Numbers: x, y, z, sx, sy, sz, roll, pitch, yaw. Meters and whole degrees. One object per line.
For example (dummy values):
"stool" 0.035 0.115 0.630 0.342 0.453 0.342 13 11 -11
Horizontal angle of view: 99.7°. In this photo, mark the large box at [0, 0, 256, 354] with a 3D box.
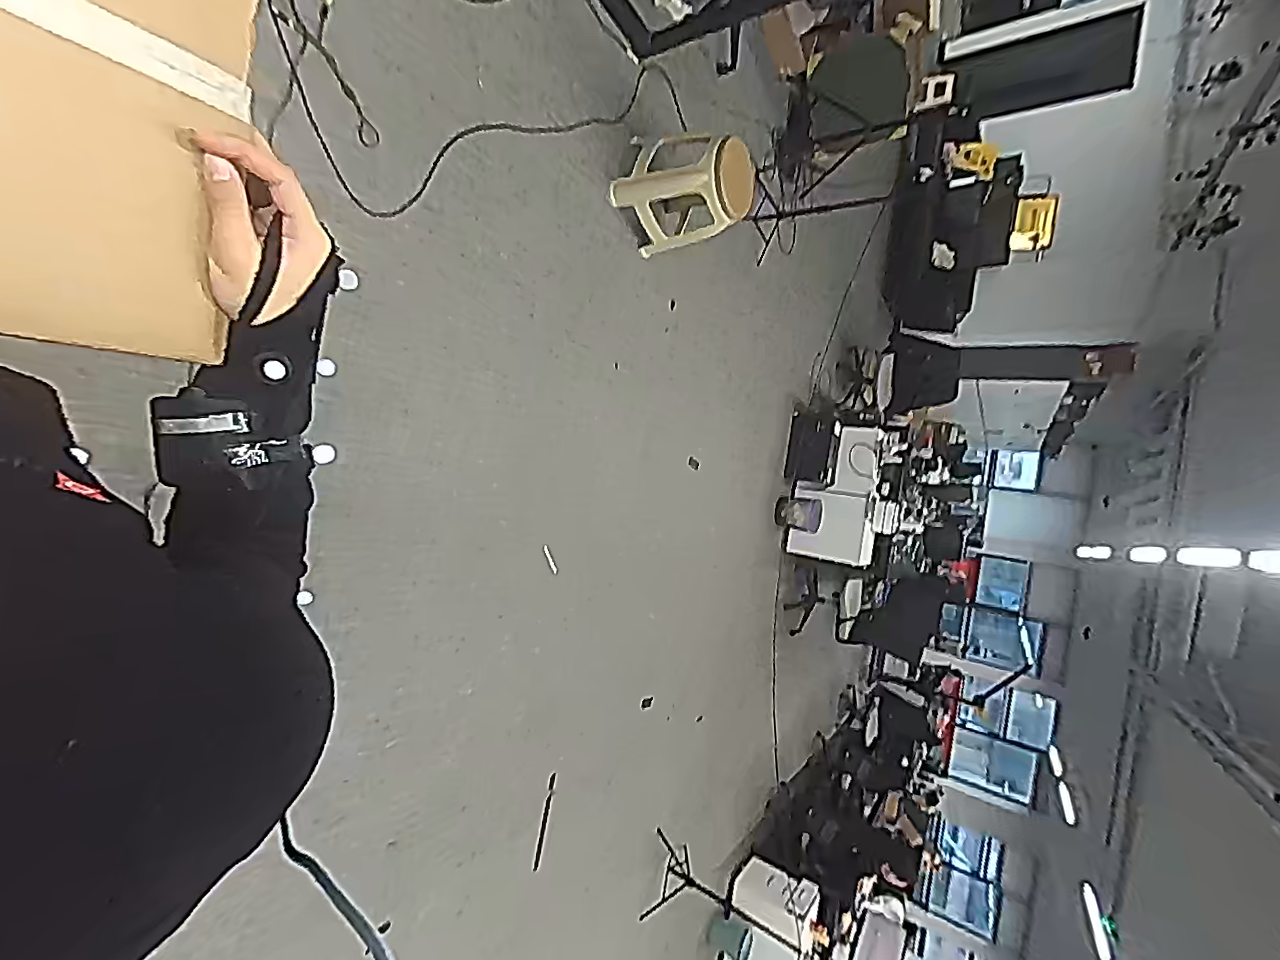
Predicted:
"large box" -0.478 -0.259 0.256 0.408 0.320 0.320 -1 105 -55
